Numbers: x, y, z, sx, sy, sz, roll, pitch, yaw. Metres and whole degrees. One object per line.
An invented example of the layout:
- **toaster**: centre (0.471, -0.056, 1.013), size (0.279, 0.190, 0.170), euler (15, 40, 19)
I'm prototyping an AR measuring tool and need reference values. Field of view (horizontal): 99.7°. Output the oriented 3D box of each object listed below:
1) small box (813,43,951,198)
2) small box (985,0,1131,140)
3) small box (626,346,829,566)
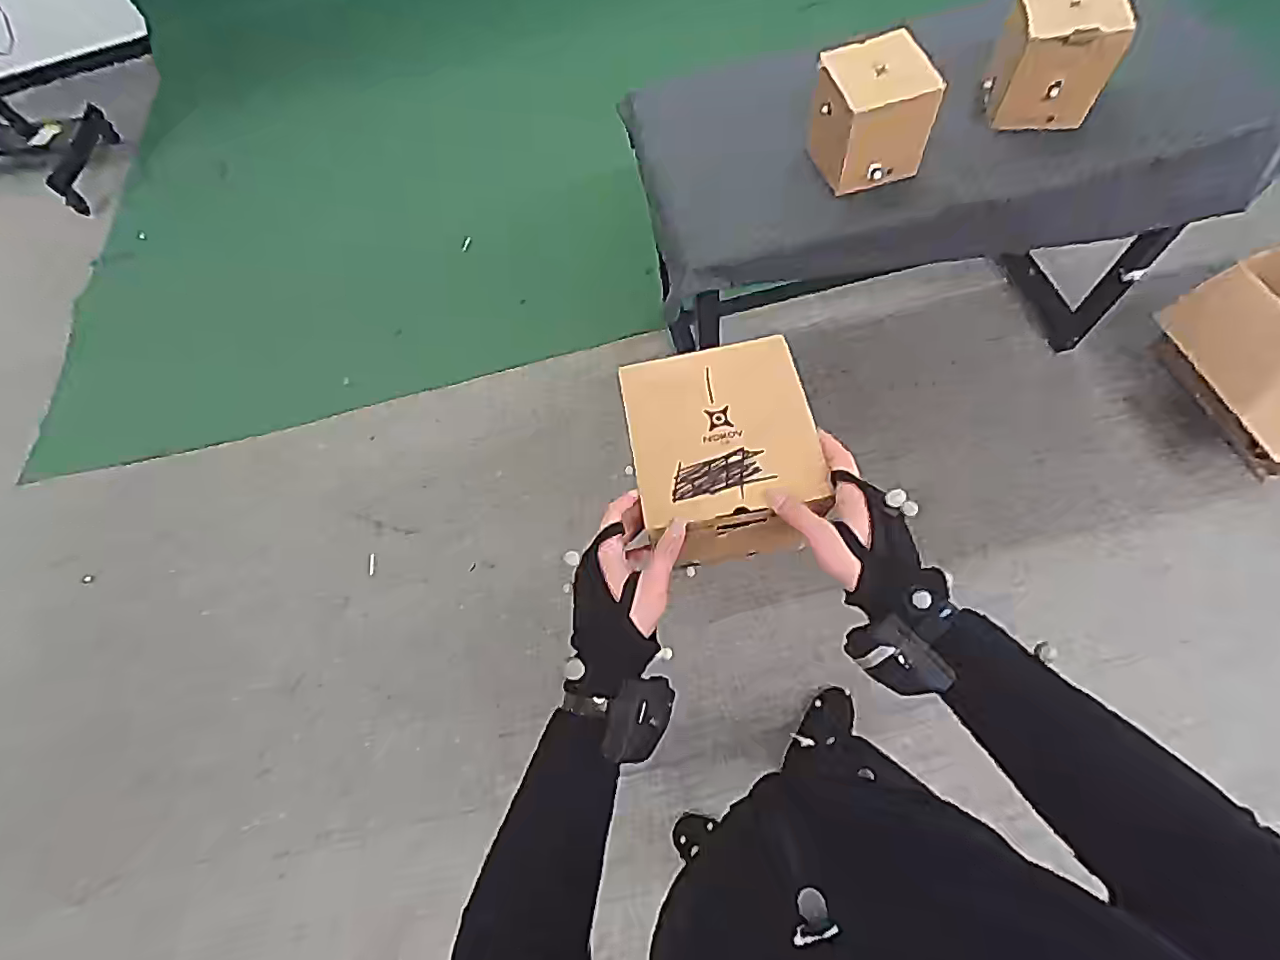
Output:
- **small box**: centre (0.449, -0.684, 1.040), size (0.168, 0.176, 0.179), euler (-16, 64, 1)
- **small box**: centre (0.802, -0.797, 1.059), size (0.168, 0.176, 0.179), euler (6, 66, 11)
- **small box**: centre (0.086, -0.012, 0.585), size (0.168, 0.176, 0.179), euler (-10, 67, 2)
